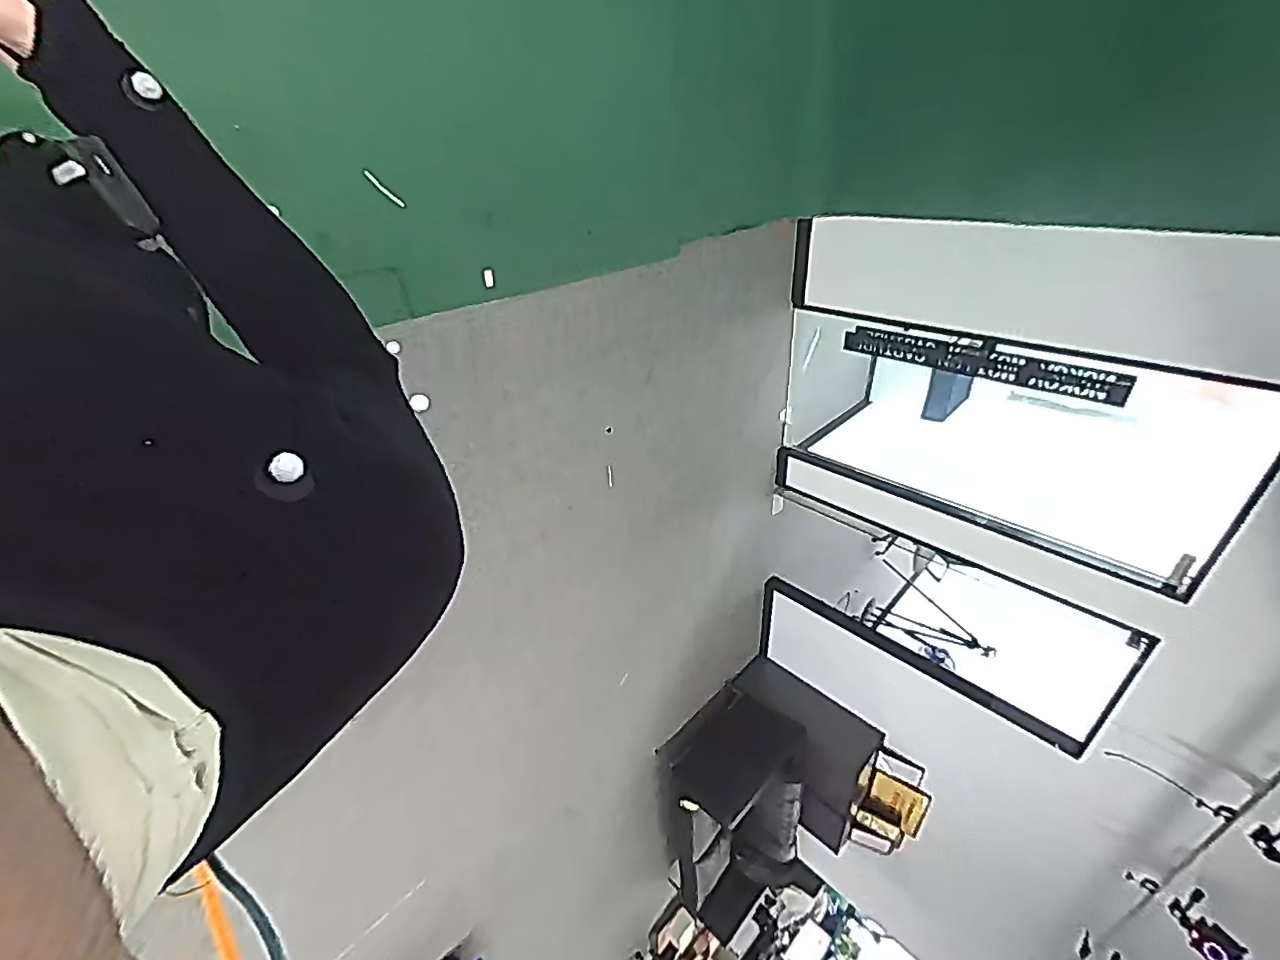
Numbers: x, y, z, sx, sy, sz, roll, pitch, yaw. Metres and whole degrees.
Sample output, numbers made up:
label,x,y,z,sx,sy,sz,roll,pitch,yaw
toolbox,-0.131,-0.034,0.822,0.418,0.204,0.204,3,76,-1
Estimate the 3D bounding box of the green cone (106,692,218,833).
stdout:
label,x,y,z,sx,sy,sz,roll,pitch,yaw
green cone,-1.240,0.780,1.437,0.202,0.368,0.200,-28,129,-35
